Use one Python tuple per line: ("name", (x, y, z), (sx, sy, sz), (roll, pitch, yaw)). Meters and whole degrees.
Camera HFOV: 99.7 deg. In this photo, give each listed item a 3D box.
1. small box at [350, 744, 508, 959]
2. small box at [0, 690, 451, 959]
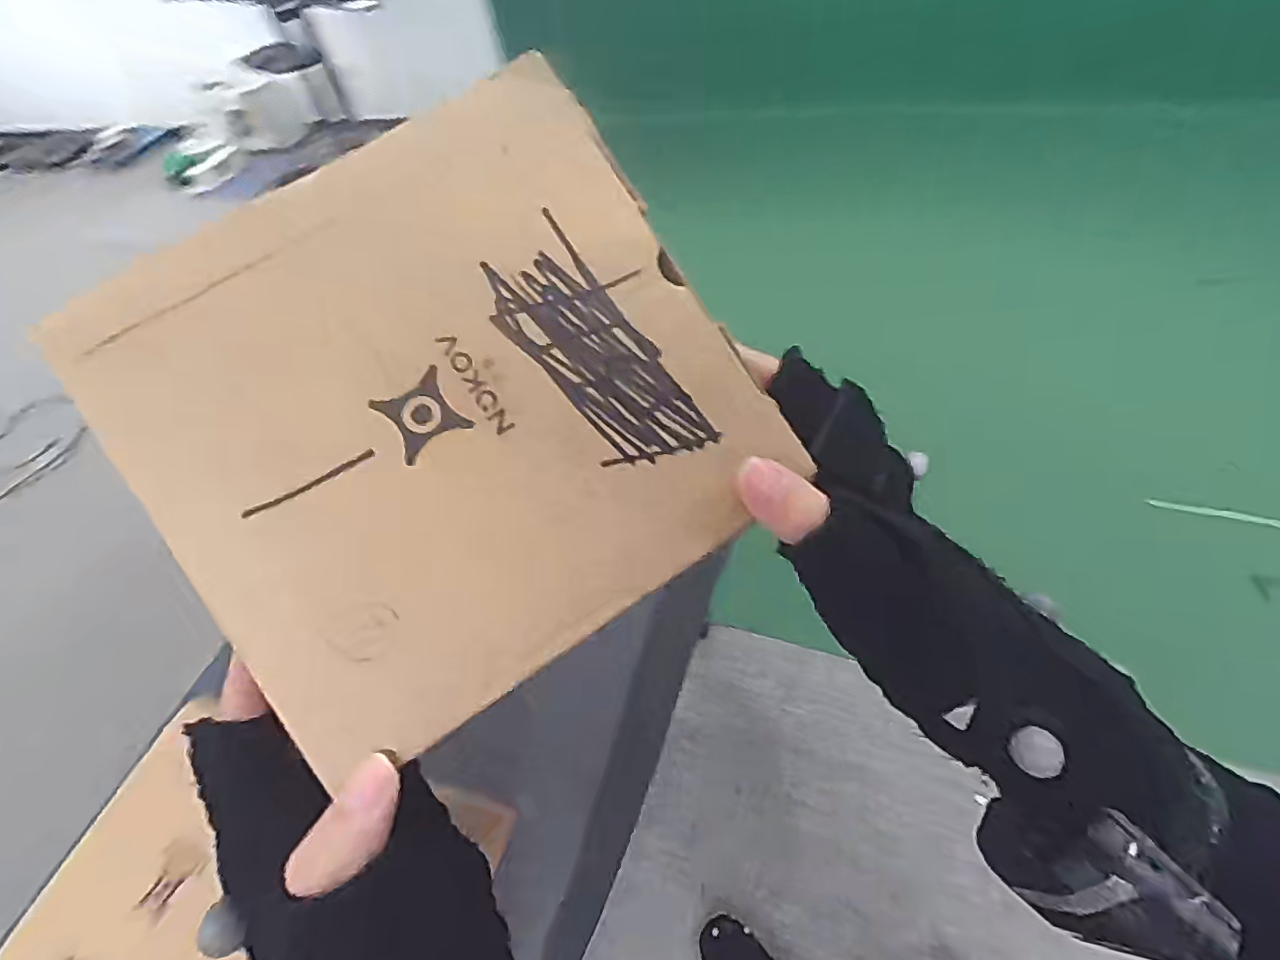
("small box", (-0.252, 0.385, 0.536), (0.168, 0.176, 0.179), (8, 57, 17))
("small box", (-0.270, 0.289, 0.404), (0.168, 0.176, 0.179), (10, 55, 19))
